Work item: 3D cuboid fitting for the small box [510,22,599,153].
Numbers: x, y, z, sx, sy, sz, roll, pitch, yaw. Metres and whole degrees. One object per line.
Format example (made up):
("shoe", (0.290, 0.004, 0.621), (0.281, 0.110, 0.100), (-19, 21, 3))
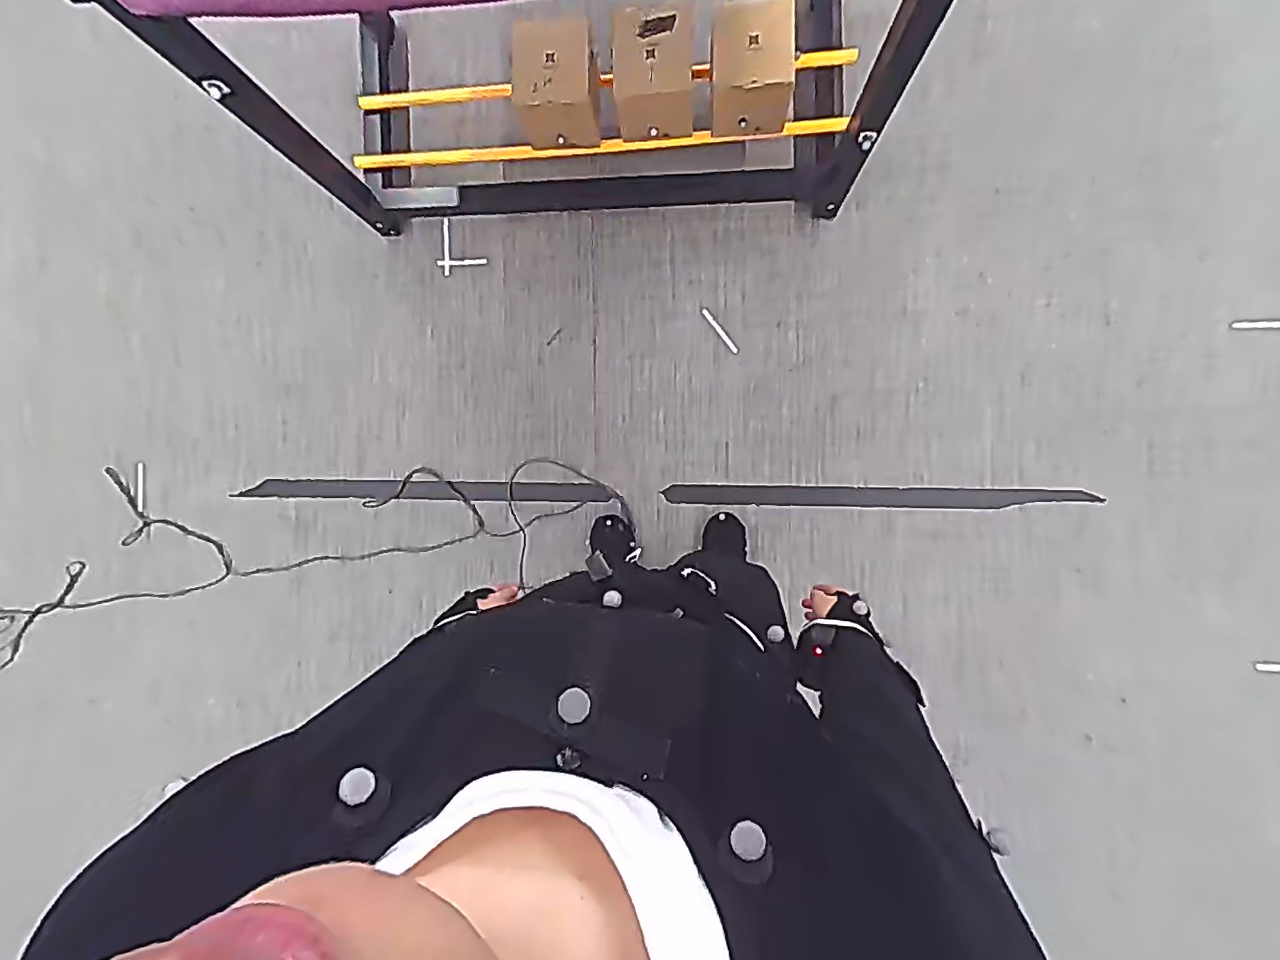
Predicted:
("small box", (-0.185, -0.868, 1.208), (0.168, 0.176, 0.179), (1, 91, 4))

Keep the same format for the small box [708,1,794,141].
("small box", (0.234, -0.877, 1.172), (0.168, 0.176, 0.179), (-1, 91, 5))
